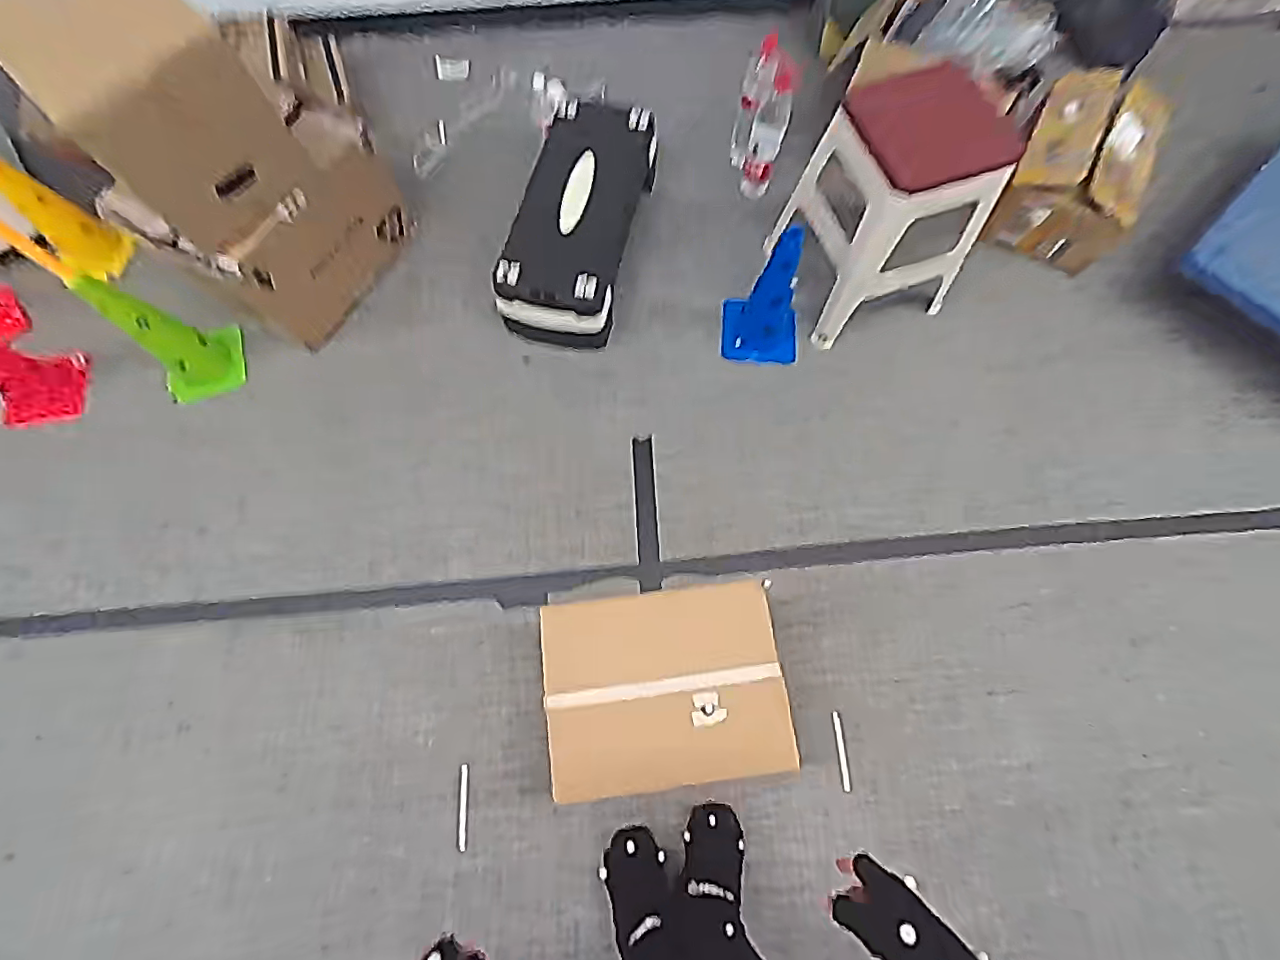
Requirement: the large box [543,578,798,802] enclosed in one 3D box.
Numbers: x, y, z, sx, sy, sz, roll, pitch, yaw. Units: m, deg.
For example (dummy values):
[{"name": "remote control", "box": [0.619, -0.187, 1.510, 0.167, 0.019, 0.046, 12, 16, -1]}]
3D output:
[{"name": "large box", "box": [0.042, 0.397, 1.065, 0.408, 0.320, 0.320, -7, 72, -3]}]
